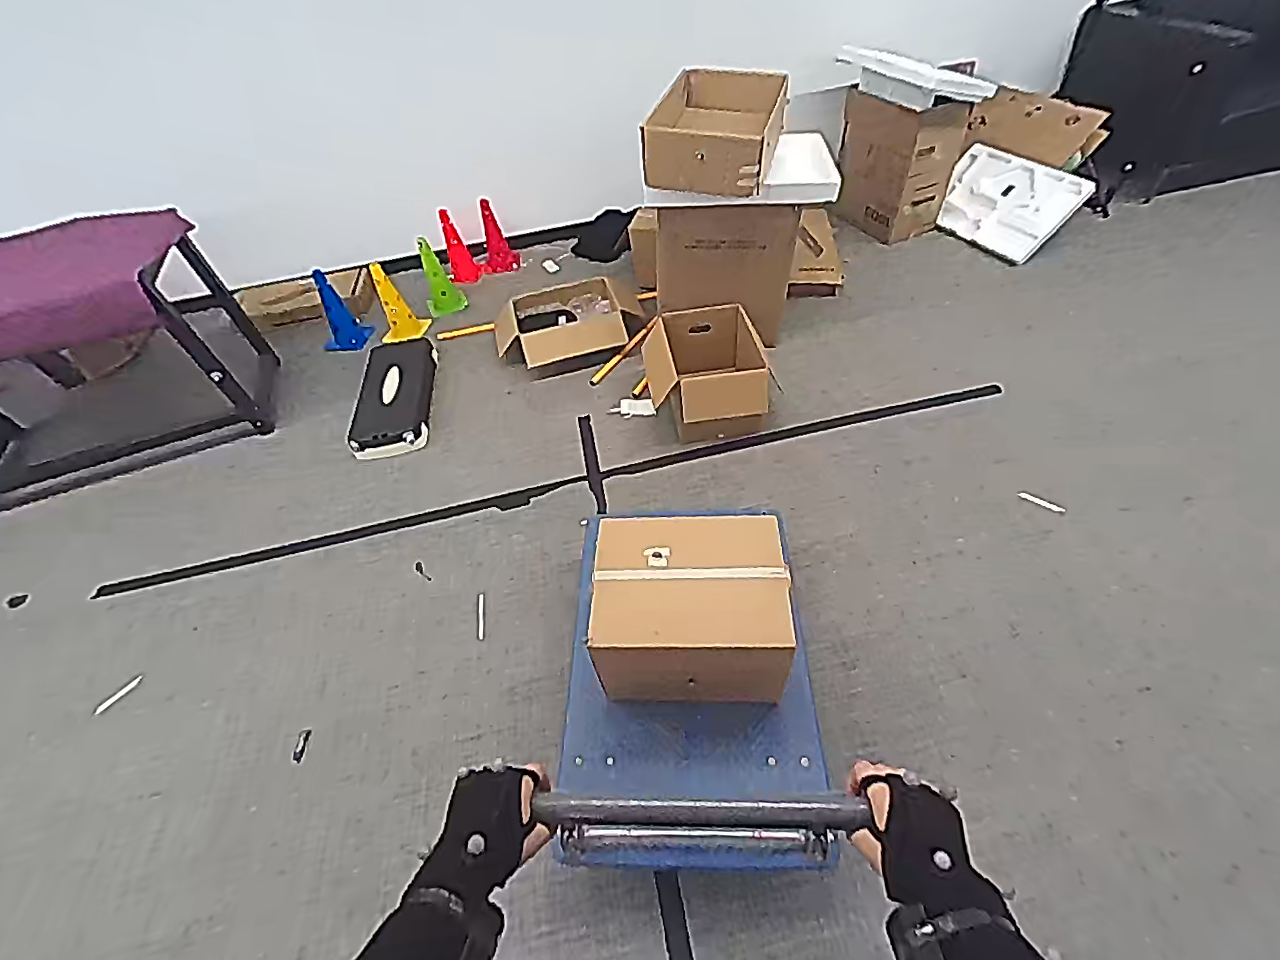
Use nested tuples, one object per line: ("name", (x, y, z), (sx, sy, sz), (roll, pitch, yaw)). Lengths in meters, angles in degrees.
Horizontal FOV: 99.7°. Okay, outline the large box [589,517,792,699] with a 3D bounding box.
("large box", (0.116, 0.307, 1.264), (0.408, 0.320, 0.320), (-3, 48, 6))
